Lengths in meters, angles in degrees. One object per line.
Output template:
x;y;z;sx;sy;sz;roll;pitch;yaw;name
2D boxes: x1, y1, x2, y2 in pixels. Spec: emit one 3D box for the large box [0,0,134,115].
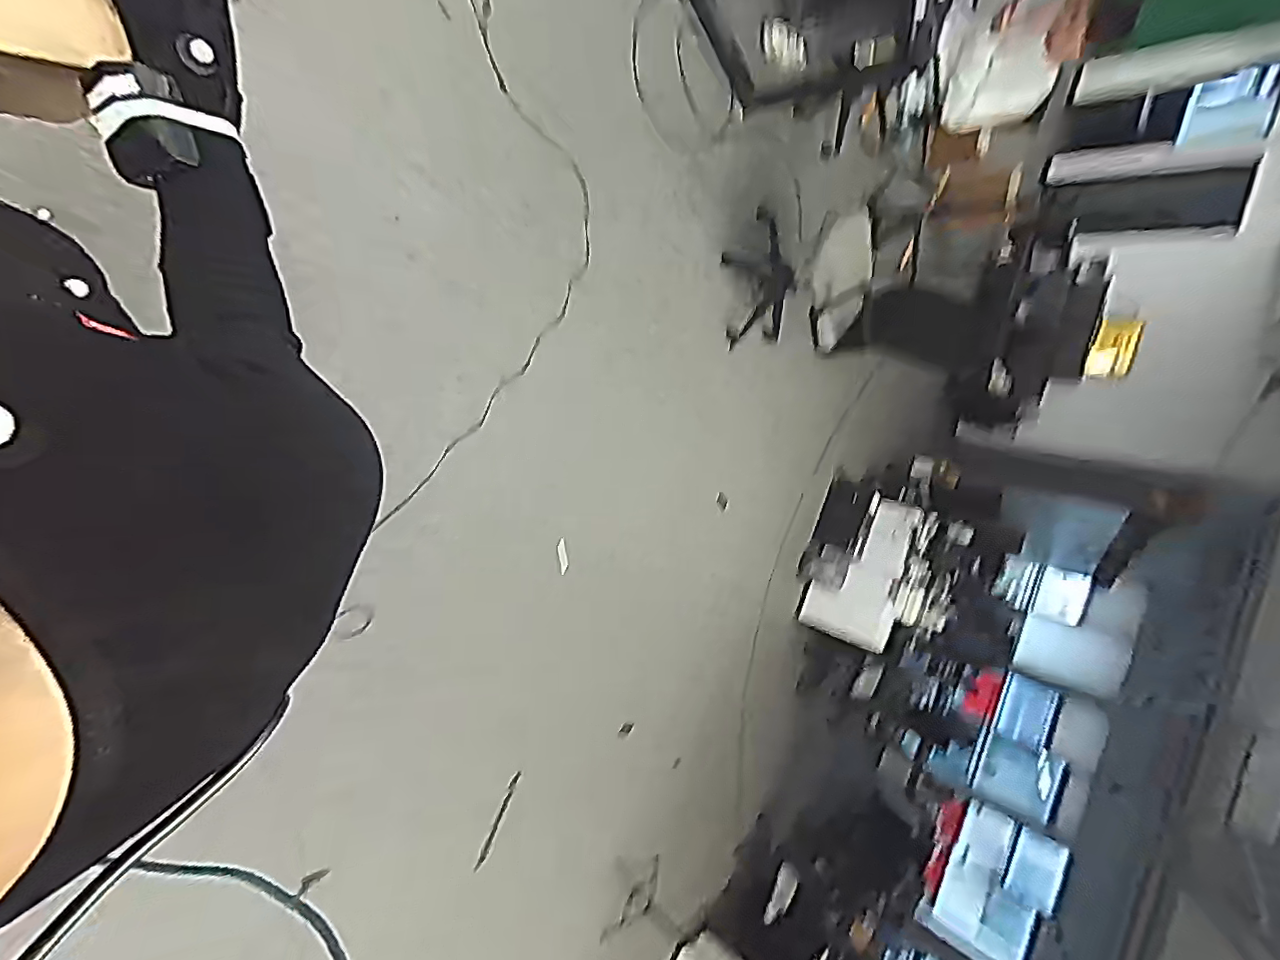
-0.609;-0.425;0.282;0.408;0.320;0.320;-25;125;-47;large box
